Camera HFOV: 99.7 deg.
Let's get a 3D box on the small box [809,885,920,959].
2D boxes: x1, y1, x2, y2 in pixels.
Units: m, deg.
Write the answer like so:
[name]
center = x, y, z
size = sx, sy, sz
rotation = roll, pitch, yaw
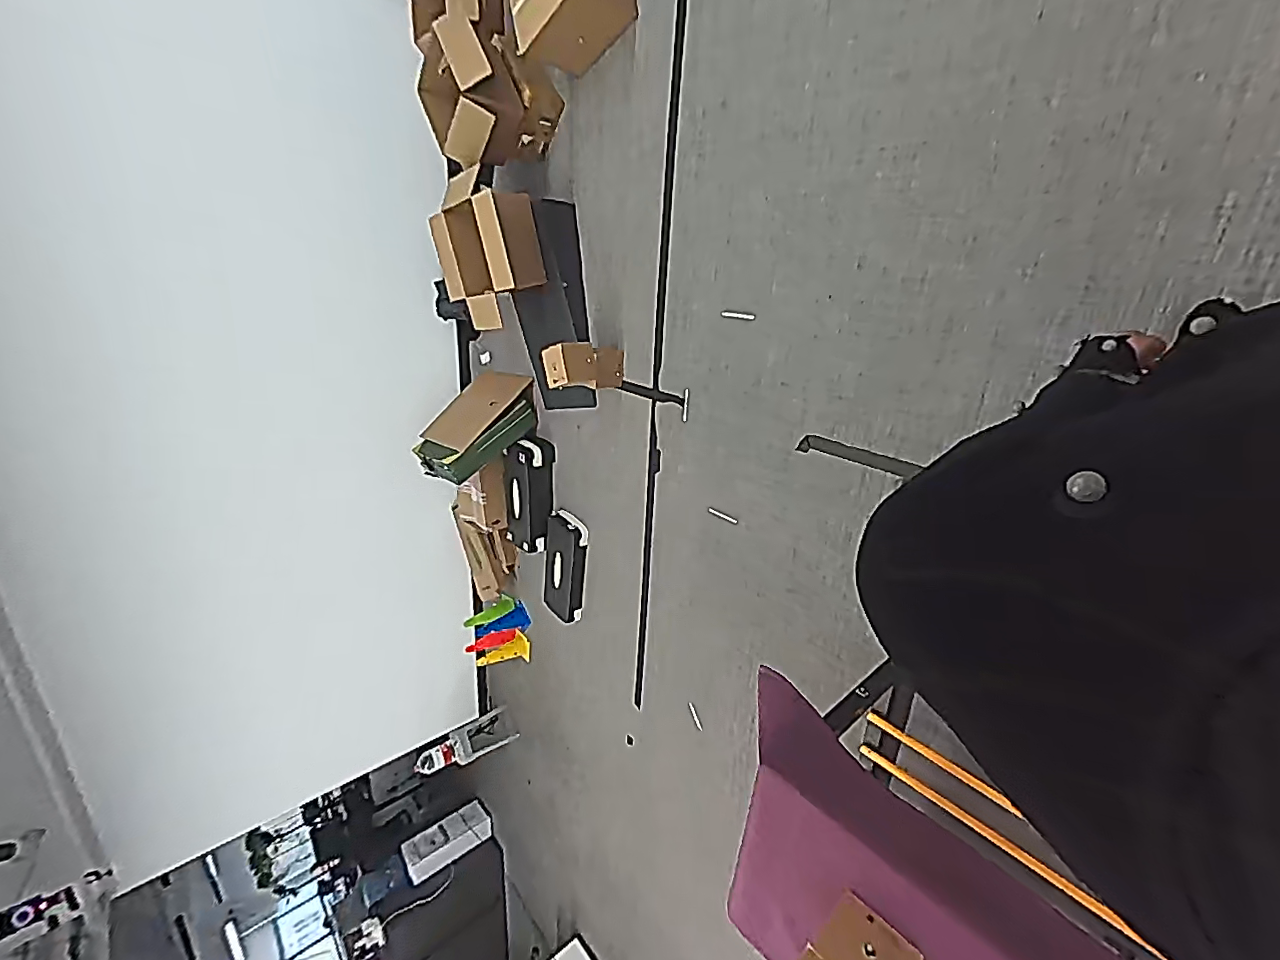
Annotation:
[small box]
center = 0.455, 1.007, 1.124
size = 0.168, 0.176, 0.179
rotation = 25, 120, 43
